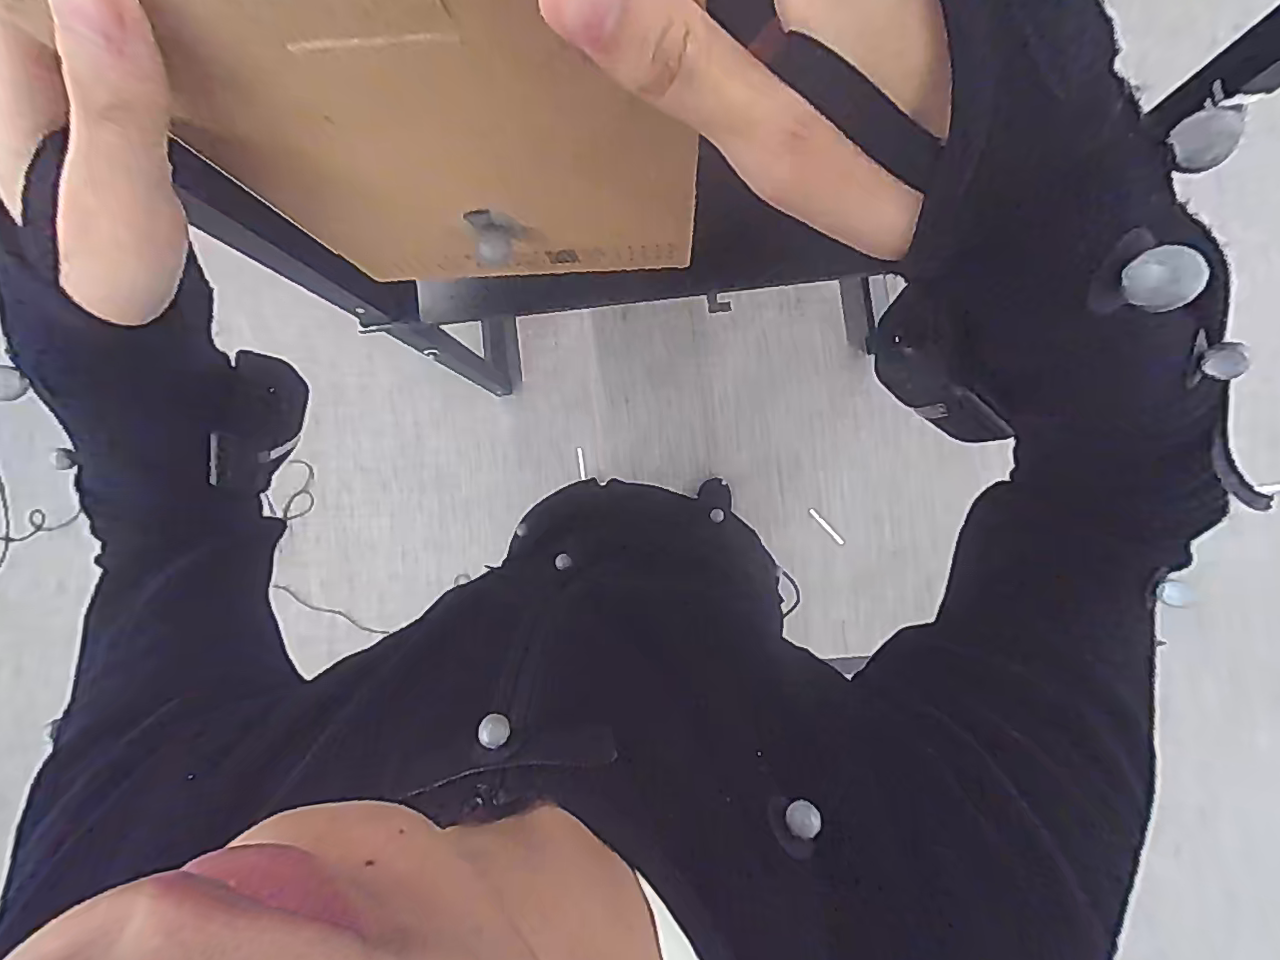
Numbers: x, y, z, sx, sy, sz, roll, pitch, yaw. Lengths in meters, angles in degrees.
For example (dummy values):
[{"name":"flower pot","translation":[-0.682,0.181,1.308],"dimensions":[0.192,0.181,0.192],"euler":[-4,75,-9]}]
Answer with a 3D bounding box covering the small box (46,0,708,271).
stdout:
[{"name":"small box","translation":[-0.062,-0.195,0.193],"dimensions":[0.168,0.176,0.179],"euler":[-1,89,4]}]
